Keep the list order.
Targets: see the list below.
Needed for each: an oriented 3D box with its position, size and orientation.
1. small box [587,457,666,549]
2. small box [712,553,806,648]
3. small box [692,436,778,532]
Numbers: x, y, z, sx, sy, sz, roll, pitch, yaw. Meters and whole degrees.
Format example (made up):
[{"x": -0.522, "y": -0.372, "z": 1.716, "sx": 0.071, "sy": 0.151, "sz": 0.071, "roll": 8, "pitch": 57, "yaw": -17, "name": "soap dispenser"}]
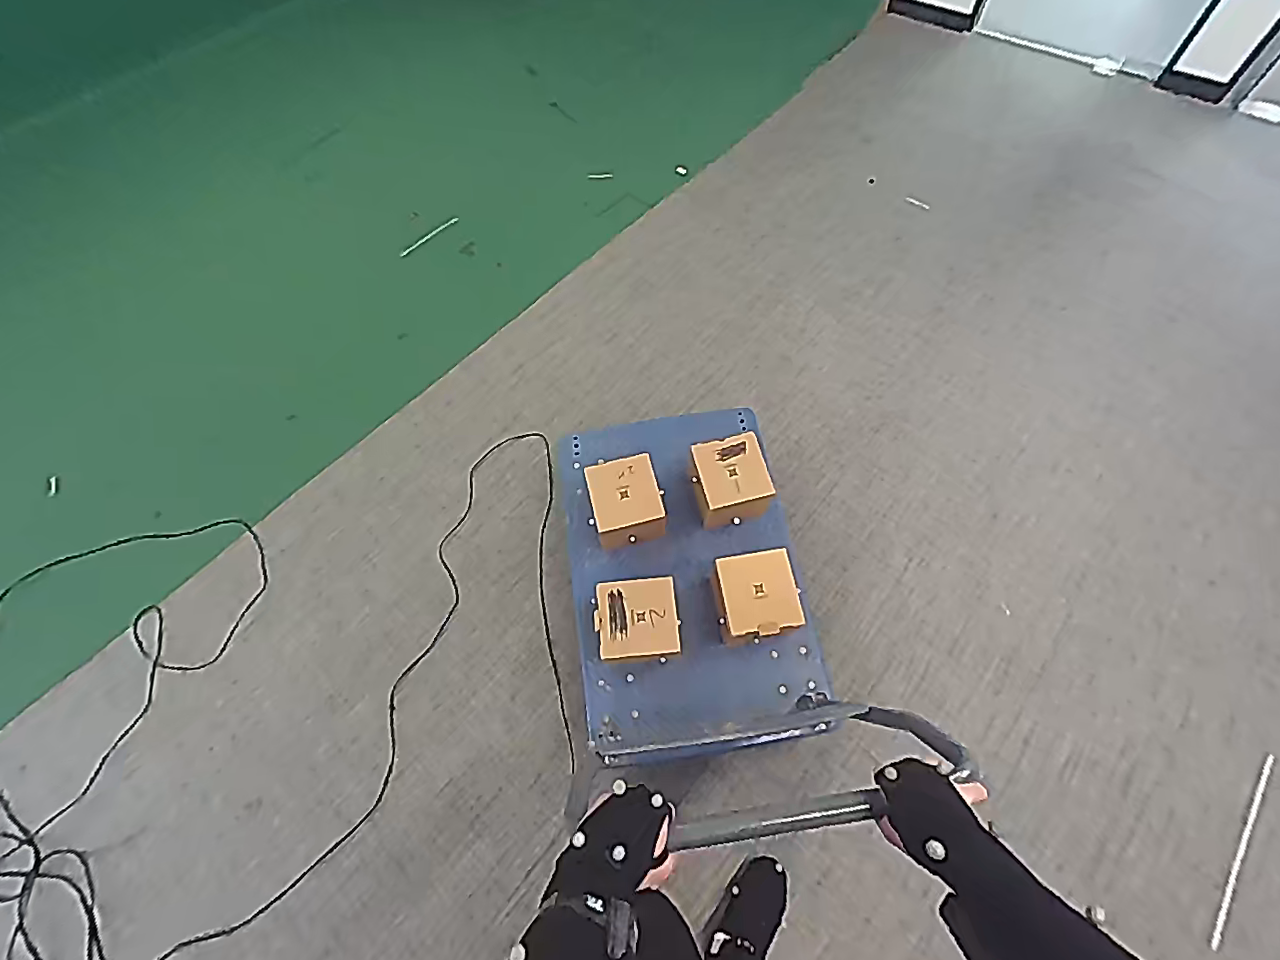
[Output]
[{"x": -0.032, "y": 0.066, "z": 1.370, "sx": 0.168, "sy": 0.176, "sz": 0.179, "roll": -13, "pitch": 67, "yaw": -4, "name": "small box"}, {"x": 0.270, "y": 0.286, "z": 1.268, "sx": 0.168, "sy": 0.176, "sz": 0.179, "roll": -8, "pitch": 68, "yaw": -1, "name": "small box"}, {"x": 0.233, "y": 0.015, "z": 1.382, "sx": 0.168, "sy": 0.176, "sz": 0.179, "roll": -13, "pitch": 68, "yaw": -3, "name": "small box"}]
